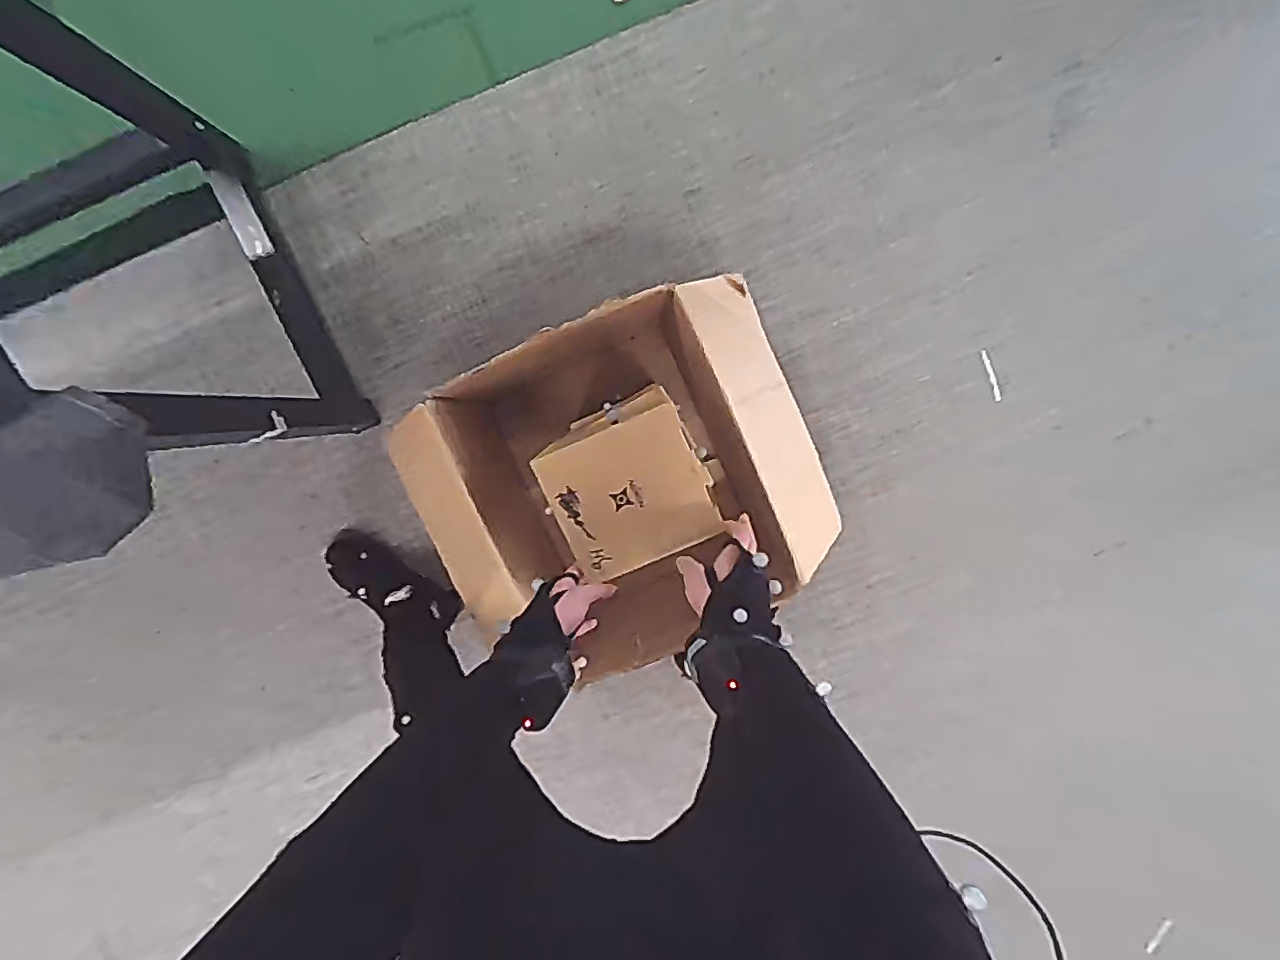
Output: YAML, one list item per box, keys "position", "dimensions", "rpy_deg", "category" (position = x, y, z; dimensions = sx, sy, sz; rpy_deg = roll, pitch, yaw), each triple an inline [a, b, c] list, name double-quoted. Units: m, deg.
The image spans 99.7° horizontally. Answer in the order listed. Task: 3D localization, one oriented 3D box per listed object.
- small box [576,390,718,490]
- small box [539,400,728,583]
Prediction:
- position: [-0.003, -0.032, 0.844]
  dimensions: [0.179, 0.176, 0.168]
  rpy_deg: [-29, 99, 4]
  category: "small box"
- position: [-0.007, 0.002, 0.698]
  dimensions: [0.179, 0.176, 0.168]
  rpy_deg: [-22, 100, 4]
  category: "small box"
